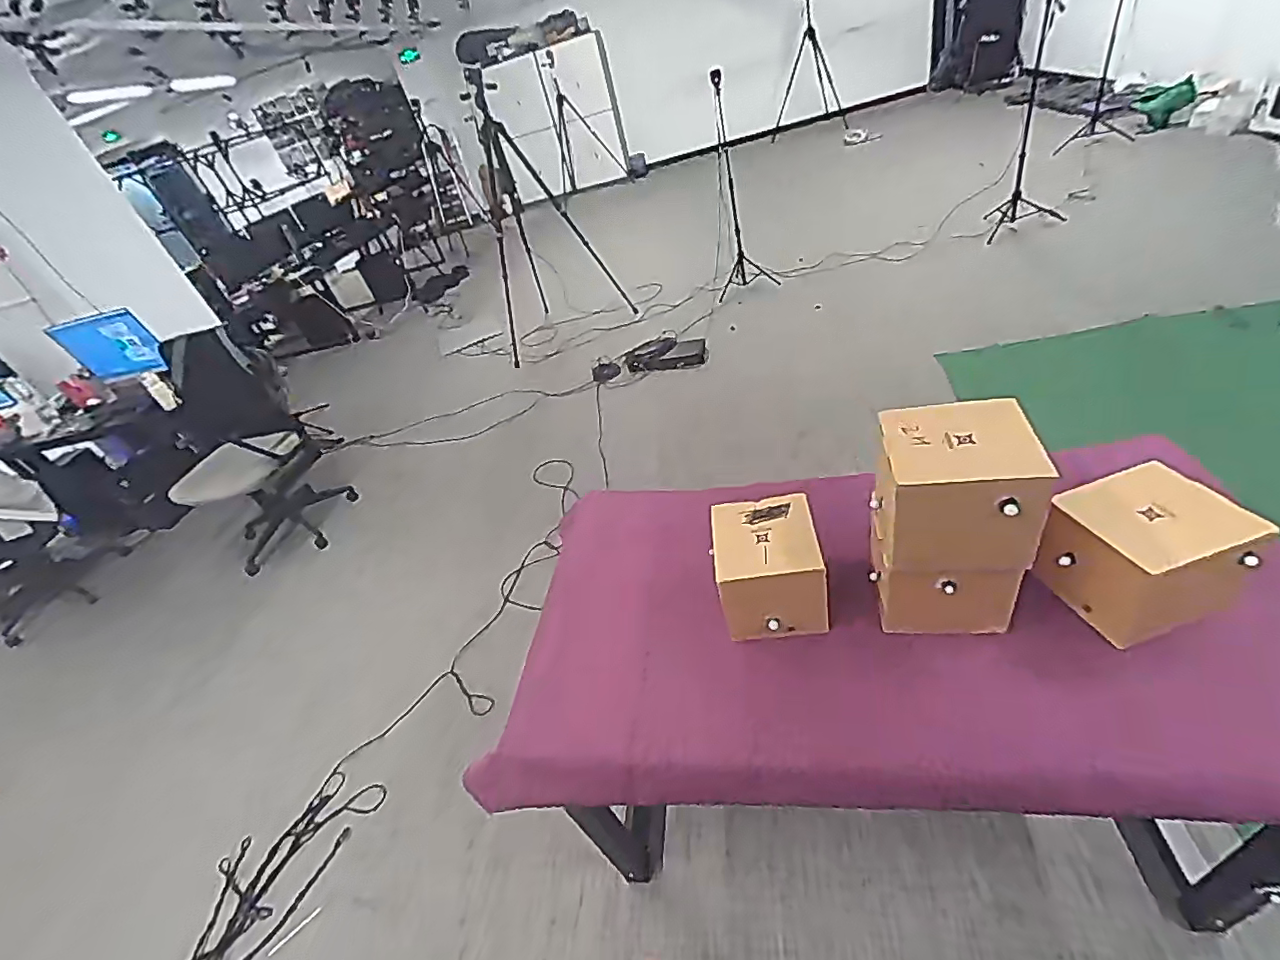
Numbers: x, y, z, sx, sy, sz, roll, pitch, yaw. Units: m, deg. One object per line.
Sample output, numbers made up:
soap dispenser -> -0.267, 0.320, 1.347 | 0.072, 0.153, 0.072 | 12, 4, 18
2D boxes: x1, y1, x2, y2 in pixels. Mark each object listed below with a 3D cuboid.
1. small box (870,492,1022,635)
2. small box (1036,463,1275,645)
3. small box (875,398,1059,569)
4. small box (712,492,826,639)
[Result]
small box -> 0.466, 0.128, 0.853 | 0.179, 0.176, 0.168 | -4, 40, 18
small box -> 0.713, 0.108, 0.779 | 0.179, 0.176, 0.168 | -19, 37, -1
small box -> 0.430, 0.009, 0.746 | 0.179, 0.176, 0.168 | -4, 40, 18
small box -> 0.218, 0.148, 0.927 | 0.168, 0.176, 0.179 | -9, 39, 12
